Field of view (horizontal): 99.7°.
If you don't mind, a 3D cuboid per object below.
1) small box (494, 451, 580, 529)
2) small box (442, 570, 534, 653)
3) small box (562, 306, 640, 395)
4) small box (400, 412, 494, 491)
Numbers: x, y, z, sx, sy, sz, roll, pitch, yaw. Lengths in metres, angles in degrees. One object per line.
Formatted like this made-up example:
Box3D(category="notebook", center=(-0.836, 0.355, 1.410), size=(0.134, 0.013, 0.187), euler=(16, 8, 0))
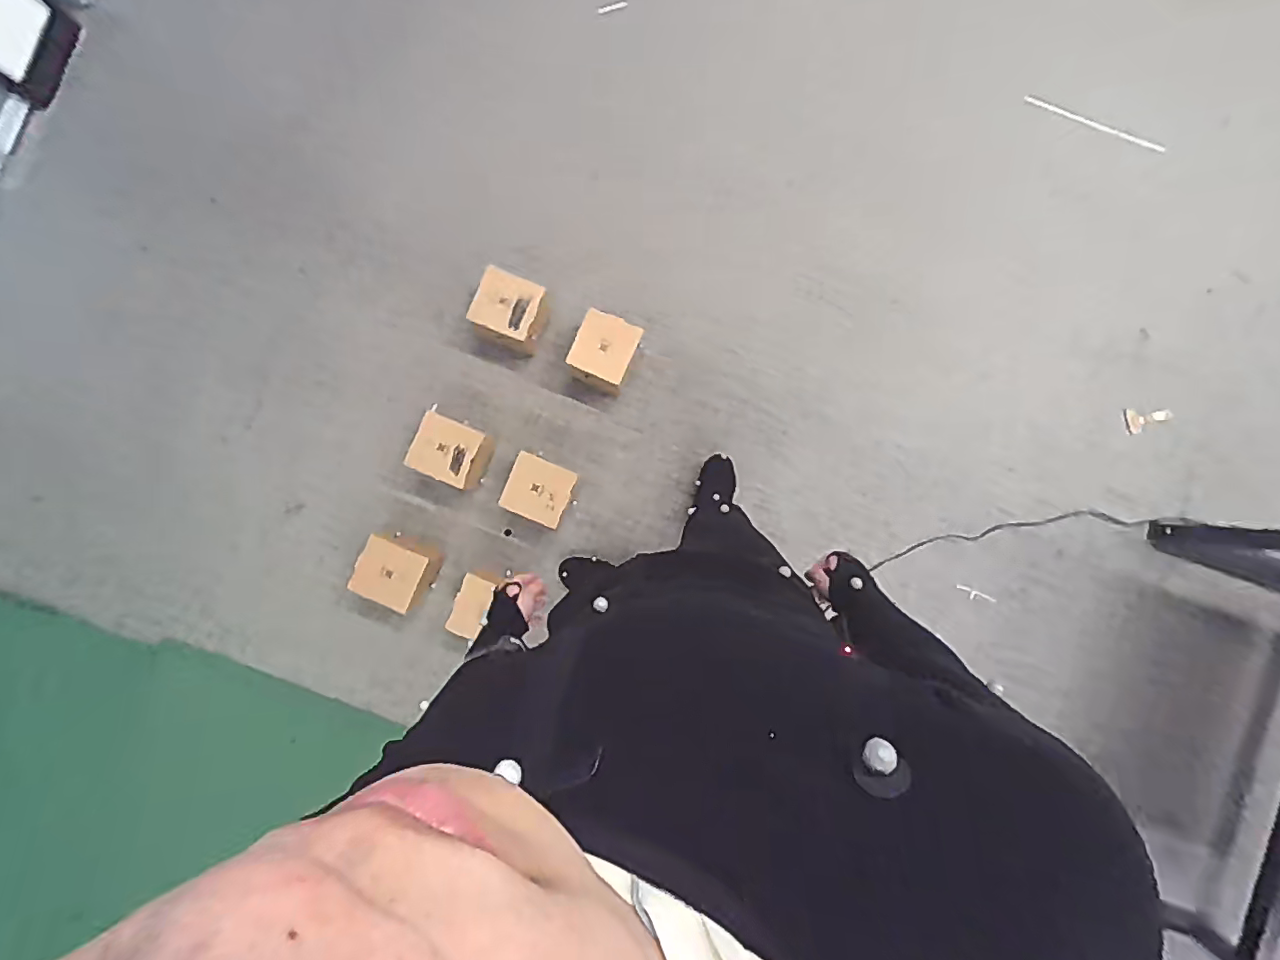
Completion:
Box3D(category="small box", center=(-0.285, 0.032, 1.543), size=(0.179, 0.176, 0.168), euler=(23, 88, 0))
Box3D(category="small box", center=(-0.423, 0.362, 1.531), size=(0.179, 0.176, 0.168), euler=(22, 88, 1))
Box3D(category="small box", center=(-0.107, -0.365, 1.560), size=(0.168, 0.176, 0.179), euler=(24, 87, 0))
Box3D(category="small box", center=(-0.540, -0.078, 1.542), size=(0.179, 0.176, 0.168), euler=(23, 88, 0))
